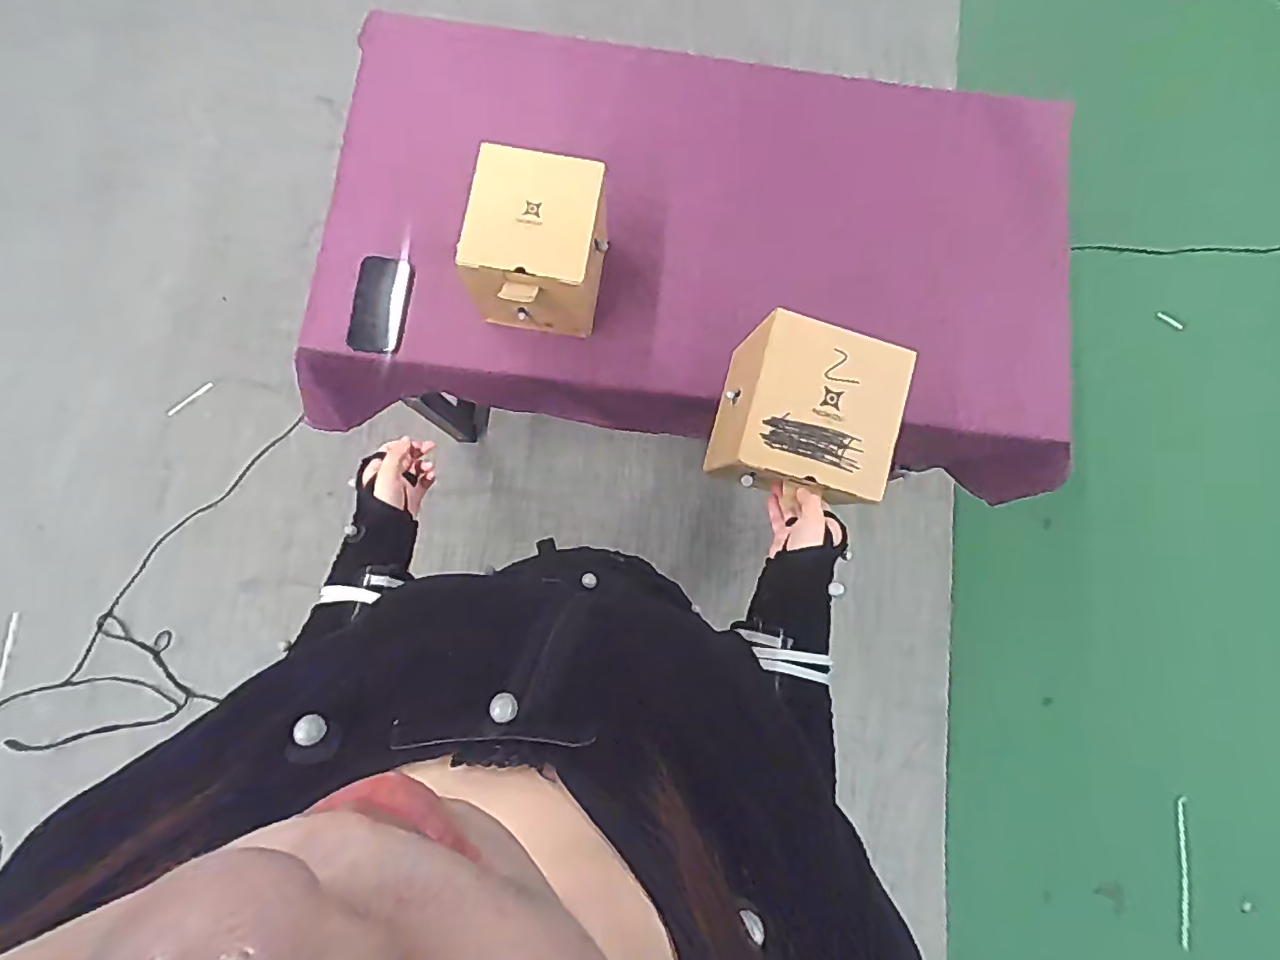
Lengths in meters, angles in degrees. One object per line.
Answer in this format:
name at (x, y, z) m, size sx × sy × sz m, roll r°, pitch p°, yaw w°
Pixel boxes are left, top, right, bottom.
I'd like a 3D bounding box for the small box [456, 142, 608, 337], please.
small box at (-0.144, -0.332, 0.774) m, size 0.168 × 0.176 × 0.179 m, roll 10°, pitch 81°, yaw -3°
